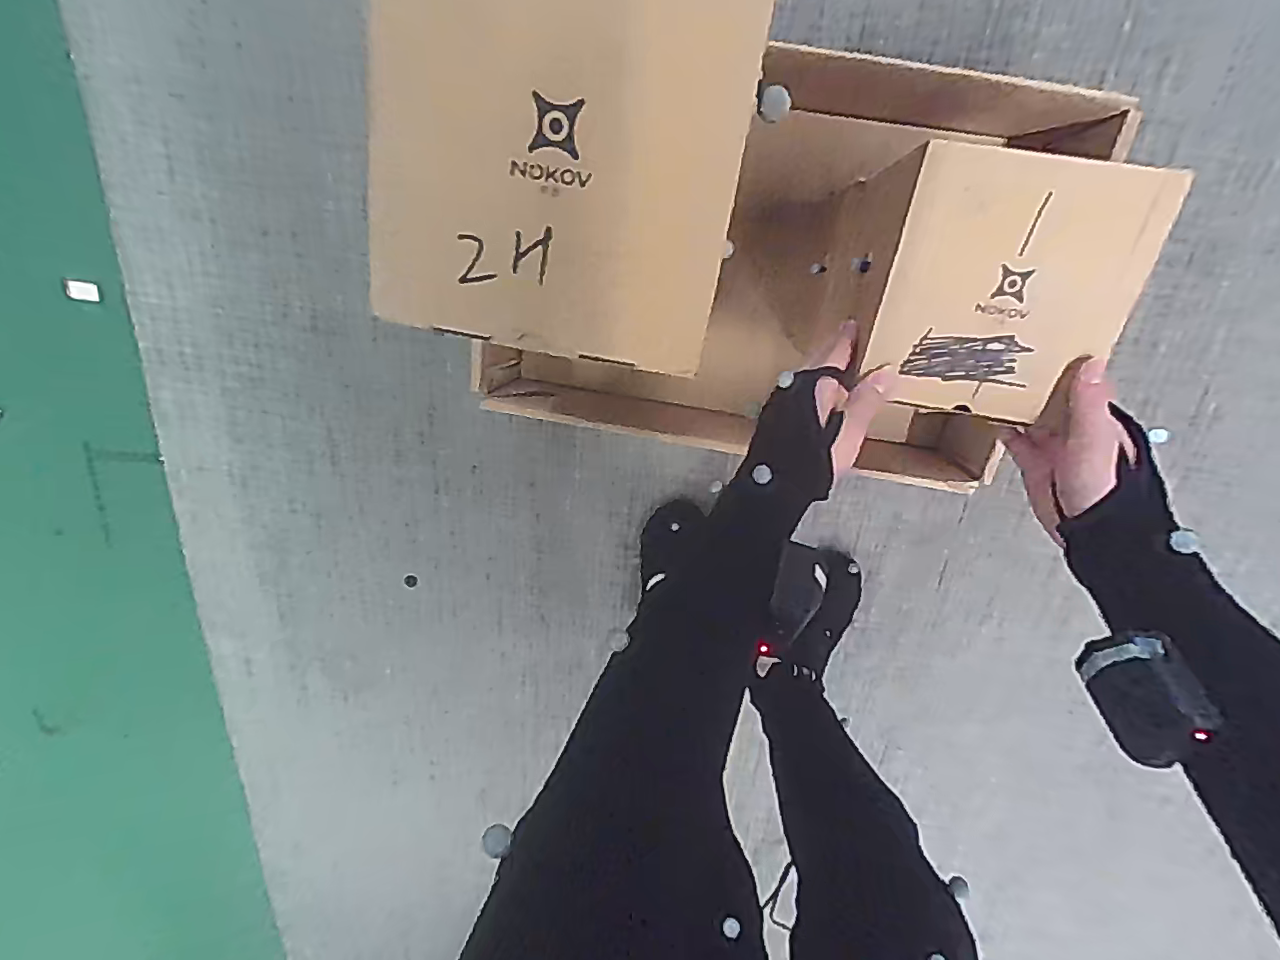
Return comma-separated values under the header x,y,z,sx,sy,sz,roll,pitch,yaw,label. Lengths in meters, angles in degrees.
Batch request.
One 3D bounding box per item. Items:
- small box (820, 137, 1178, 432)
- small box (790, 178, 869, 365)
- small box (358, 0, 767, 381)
x,y,z,sx,sy,sz,roll,pitch,yaw,label
0.260,-0.157,0.451,0.168,0.176,0.179,10,111,4,small box
0.274,-0.215,0.606,0.168,0.176,0.179,11,111,5,small box
-0.035,-0.168,0.311,0.168,0.176,0.179,11,110,2,small box
